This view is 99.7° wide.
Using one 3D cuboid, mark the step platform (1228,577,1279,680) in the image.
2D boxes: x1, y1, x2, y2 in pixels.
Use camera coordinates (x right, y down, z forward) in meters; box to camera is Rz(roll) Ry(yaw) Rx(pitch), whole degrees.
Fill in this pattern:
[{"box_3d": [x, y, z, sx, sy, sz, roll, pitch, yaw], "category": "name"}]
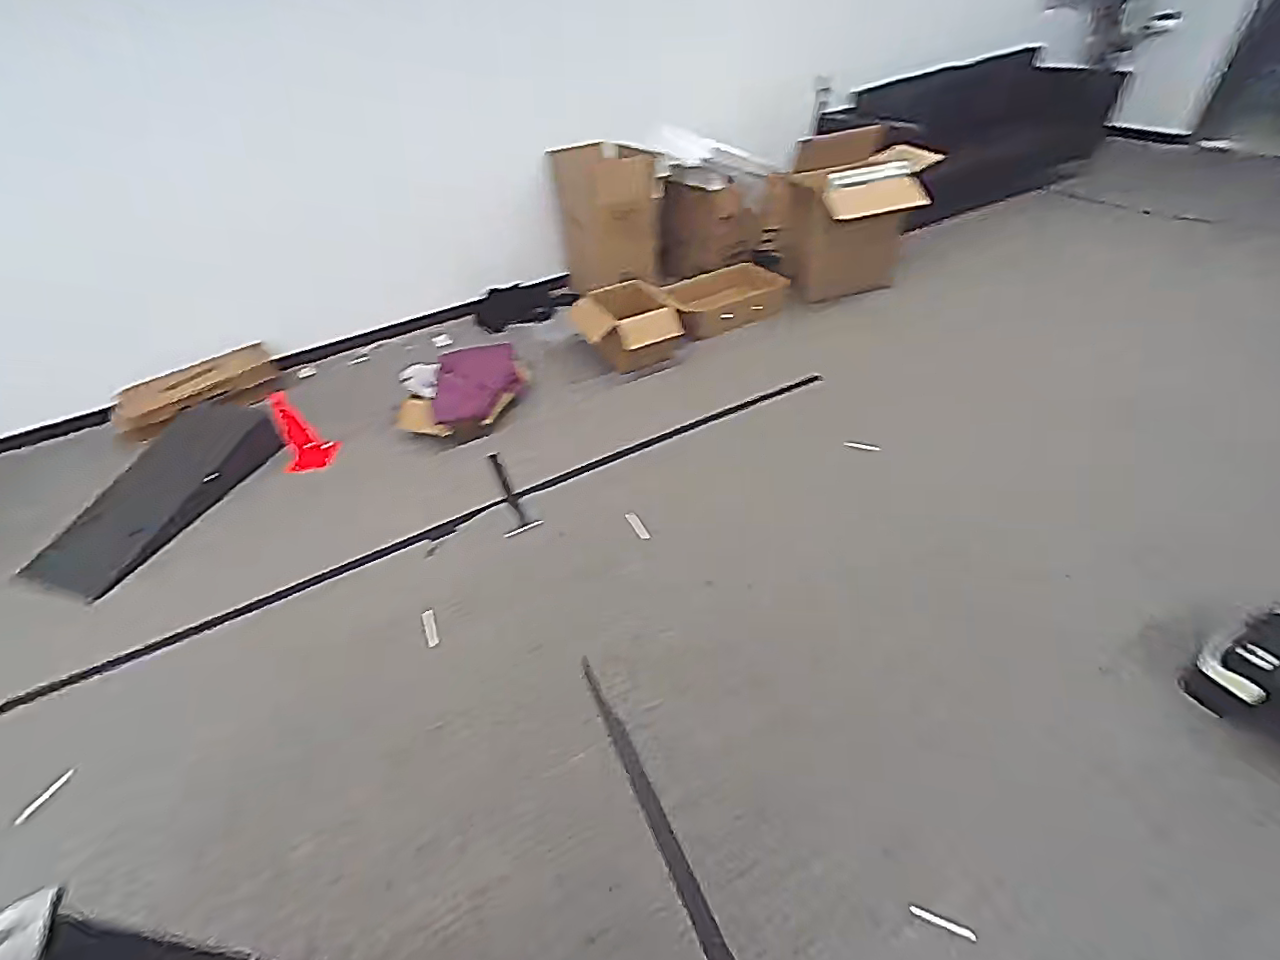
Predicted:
[{"box_3d": [1.646, 0.454, 1.052, 0.286, 0.204, 0.684, -24, 45, -18], "category": "step platform"}]
